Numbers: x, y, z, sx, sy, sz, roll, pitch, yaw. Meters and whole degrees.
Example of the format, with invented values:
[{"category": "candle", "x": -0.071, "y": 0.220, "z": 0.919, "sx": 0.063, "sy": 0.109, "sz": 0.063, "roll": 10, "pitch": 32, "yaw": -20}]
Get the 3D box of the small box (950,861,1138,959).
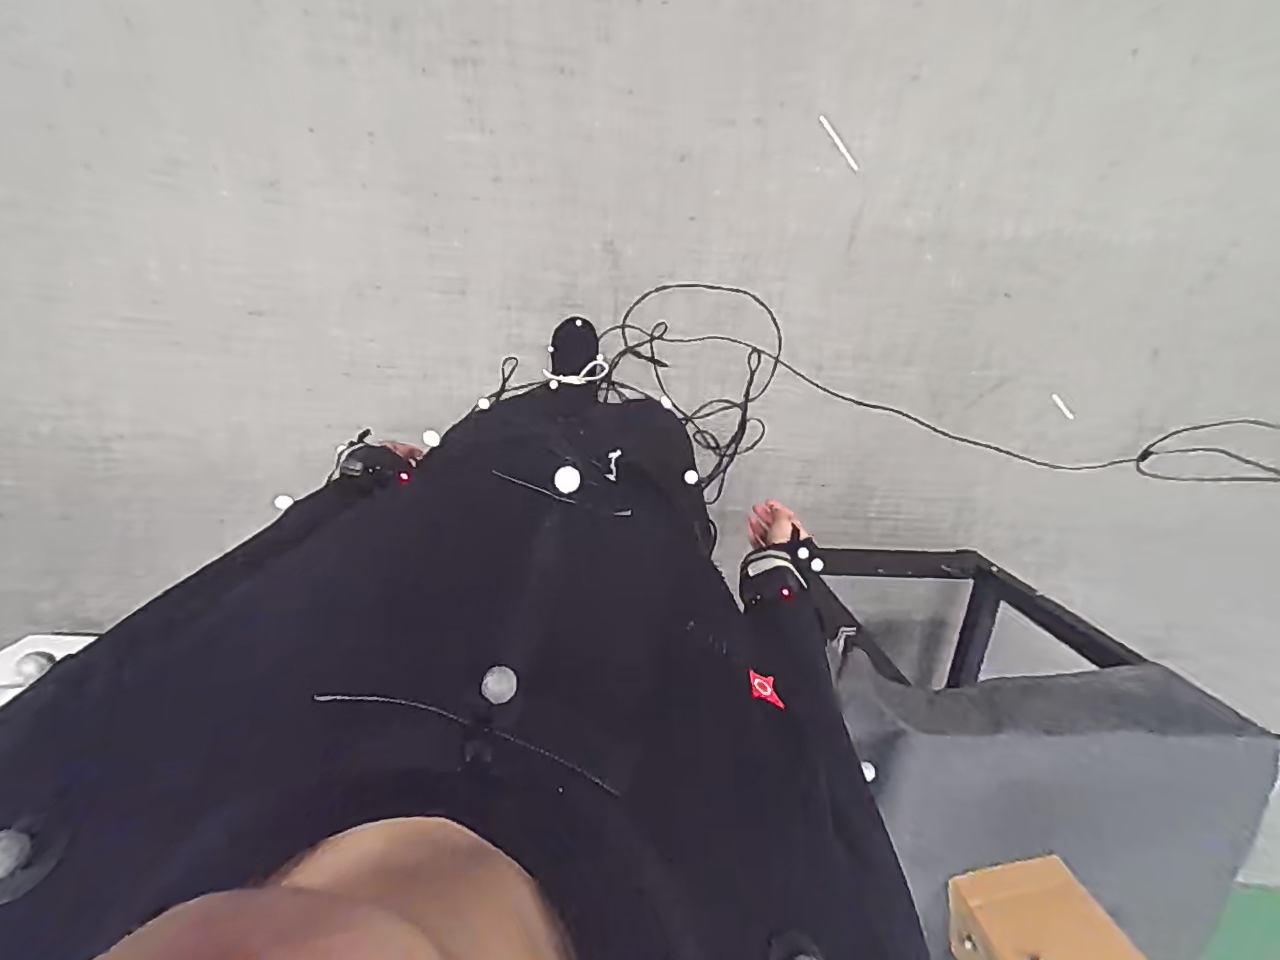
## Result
[{"category": "small box", "x": 0.589, "y": 0.701, "z": 0.790, "sx": 0.179, "sy": 0.176, "sz": 0.168, "roll": -12, "pitch": 107, "yaw": 0}]
